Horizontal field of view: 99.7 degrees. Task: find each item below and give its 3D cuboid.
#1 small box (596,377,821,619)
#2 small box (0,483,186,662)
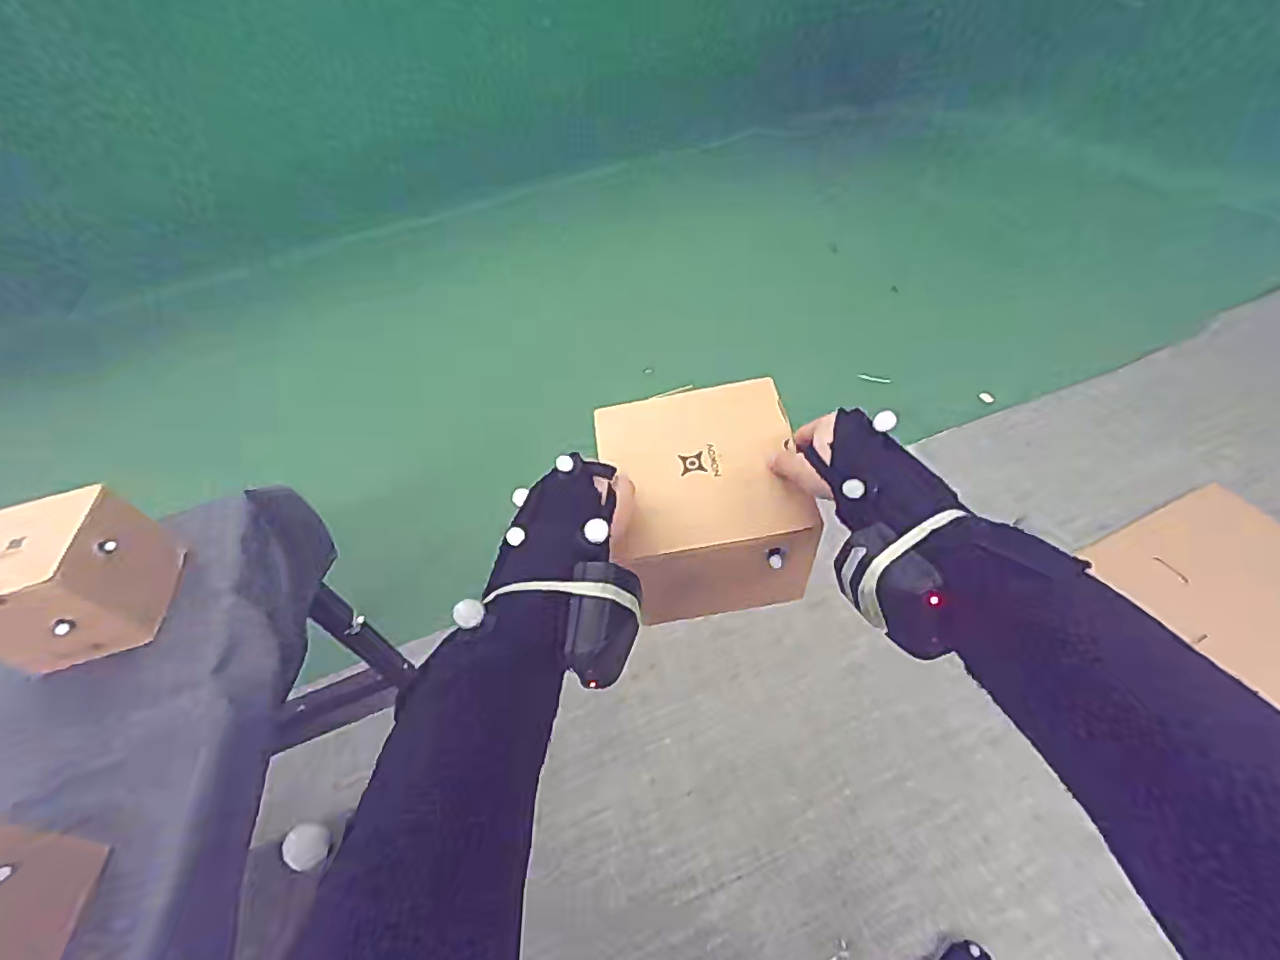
[{"bbox_3d":[0.063,0.026,0.540,0.179,0.176,0.168,-10,57,2],"label":"small box"},{"bbox_3d":[-0.804,0.138,0.769,0.168,0.176,0.179,-16,47,-5],"label":"small box"}]
